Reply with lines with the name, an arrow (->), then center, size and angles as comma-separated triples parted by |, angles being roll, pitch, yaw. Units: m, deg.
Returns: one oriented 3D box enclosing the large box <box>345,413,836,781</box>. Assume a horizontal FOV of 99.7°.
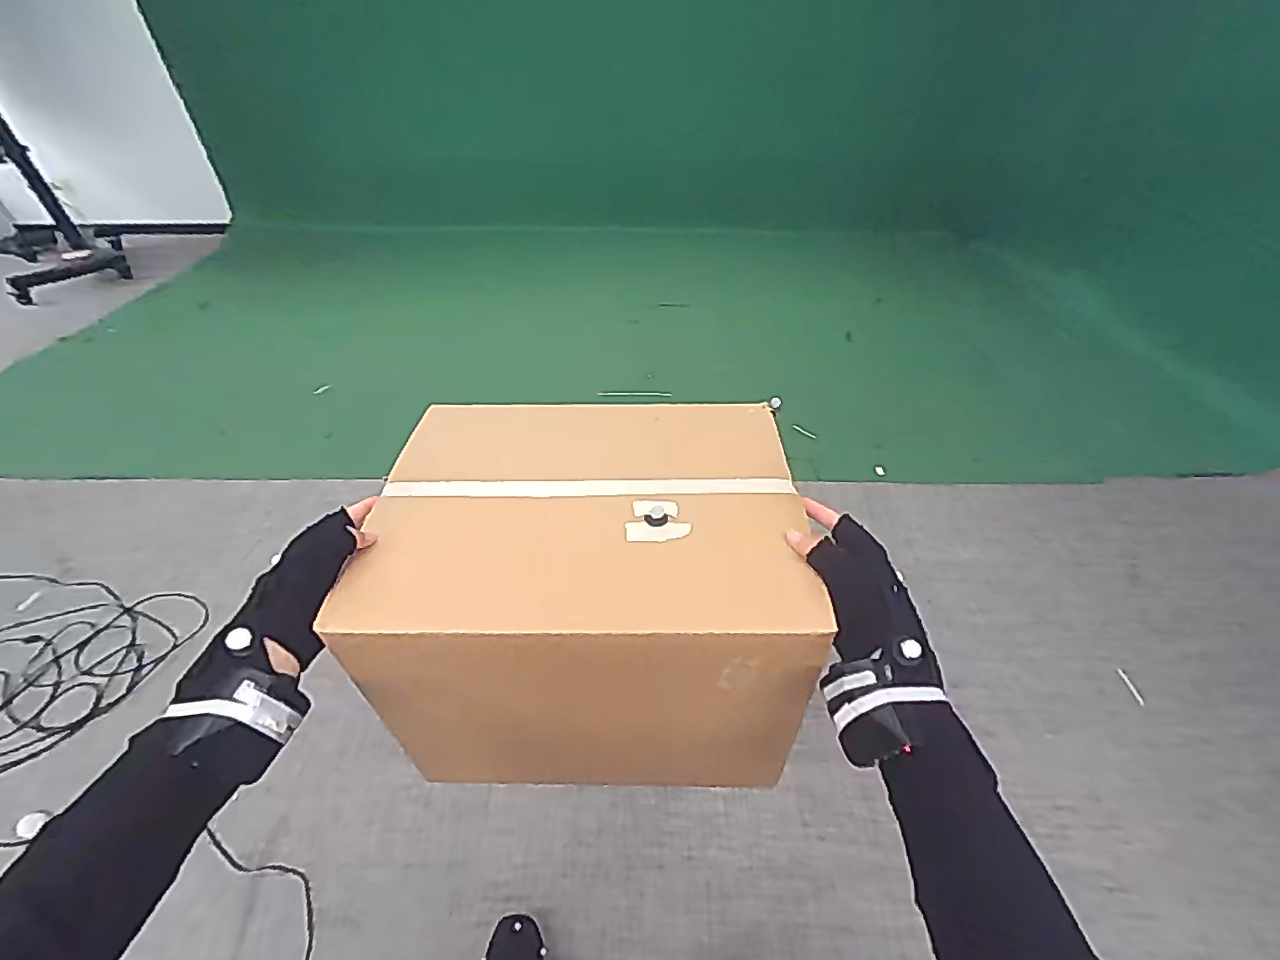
large box -> -0.041, 0.132, 0.638 | 0.408, 0.320, 0.320 | 0, 42, 0
